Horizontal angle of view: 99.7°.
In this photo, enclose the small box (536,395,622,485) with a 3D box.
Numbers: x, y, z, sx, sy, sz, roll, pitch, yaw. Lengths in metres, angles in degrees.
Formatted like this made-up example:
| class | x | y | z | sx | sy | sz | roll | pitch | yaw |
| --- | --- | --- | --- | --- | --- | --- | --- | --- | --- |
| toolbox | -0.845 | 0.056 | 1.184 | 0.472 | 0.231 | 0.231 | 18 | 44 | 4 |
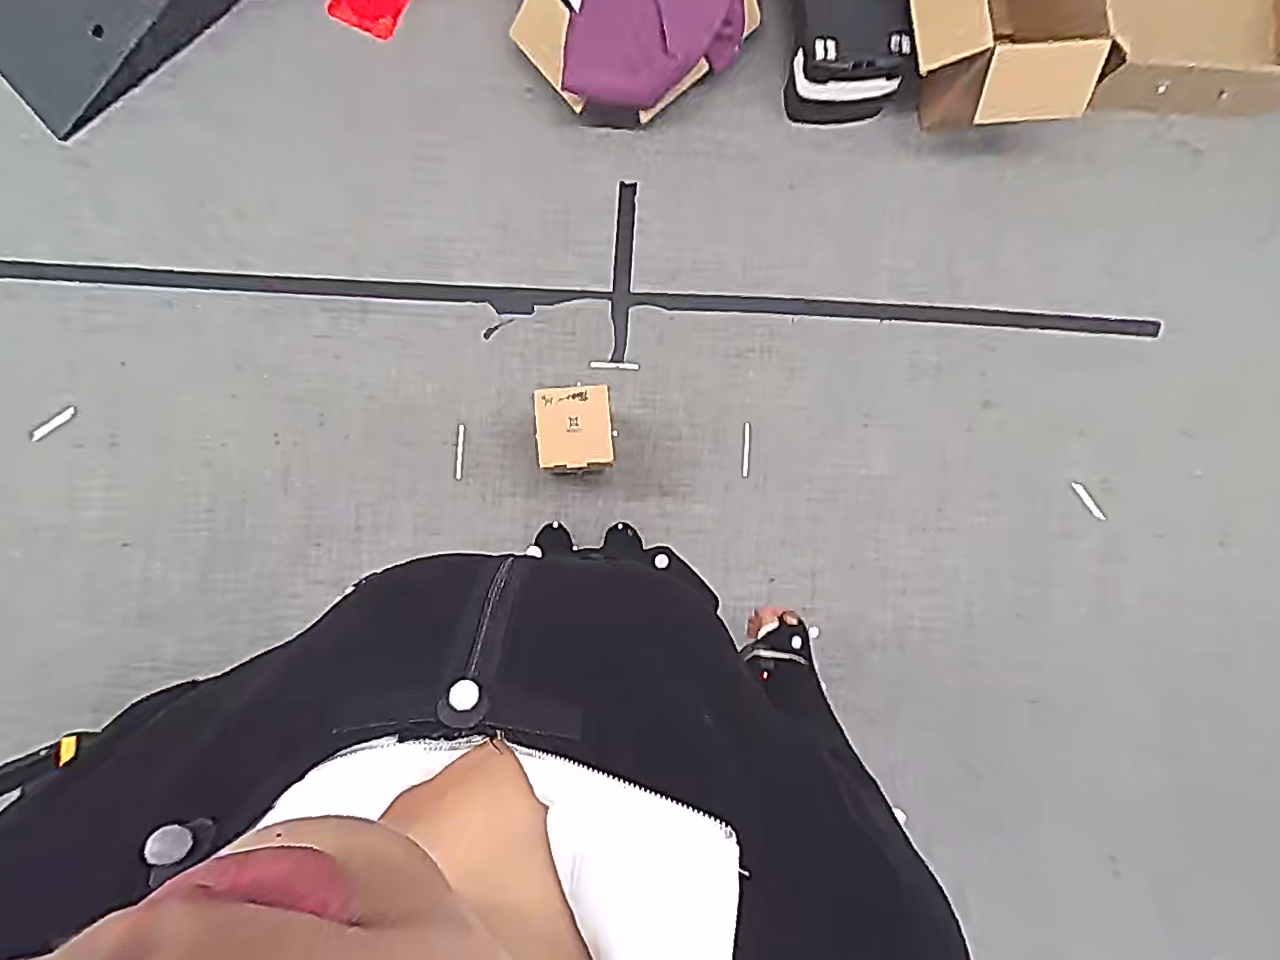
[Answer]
| class | x | y | z | sx | sy | sz | roll | pitch | yaw |
| --- | --- | --- | --- | --- | --- | --- | --- | --- | --- |
| small box | -0.128 | -0.082 | 1.189 | 0.168 | 0.176 | 0.179 | -5 | 89 | -2 |
